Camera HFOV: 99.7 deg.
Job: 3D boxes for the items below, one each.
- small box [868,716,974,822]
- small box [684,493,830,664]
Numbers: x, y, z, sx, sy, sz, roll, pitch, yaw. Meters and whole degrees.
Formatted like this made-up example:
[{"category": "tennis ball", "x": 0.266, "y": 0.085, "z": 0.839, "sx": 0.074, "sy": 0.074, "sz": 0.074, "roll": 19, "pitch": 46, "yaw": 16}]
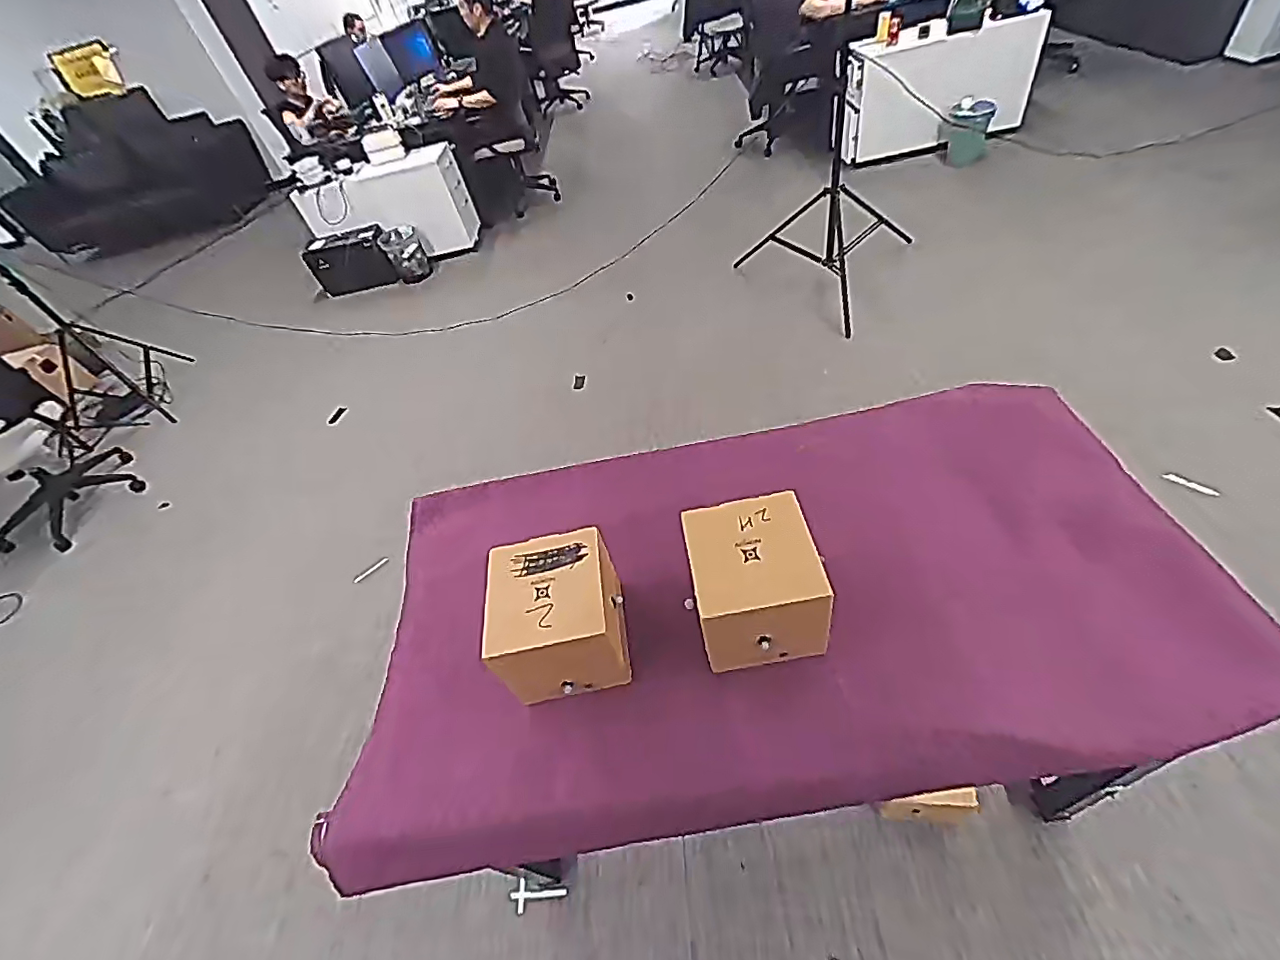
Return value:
[{"category": "small box", "x": 0.617, "y": 0.649, "z": 1.211, "sx": 0.168, "sy": 0.176, "sz": 0.179, "roll": -4, "pitch": 47, "yaw": 12}, {"category": "small box", "x": 0.164, "y": 0.148, "z": 0.779, "sx": 0.168, "sy": 0.176, "sz": 0.179, "roll": -11, "pitch": 46, "yaw": 4}]
